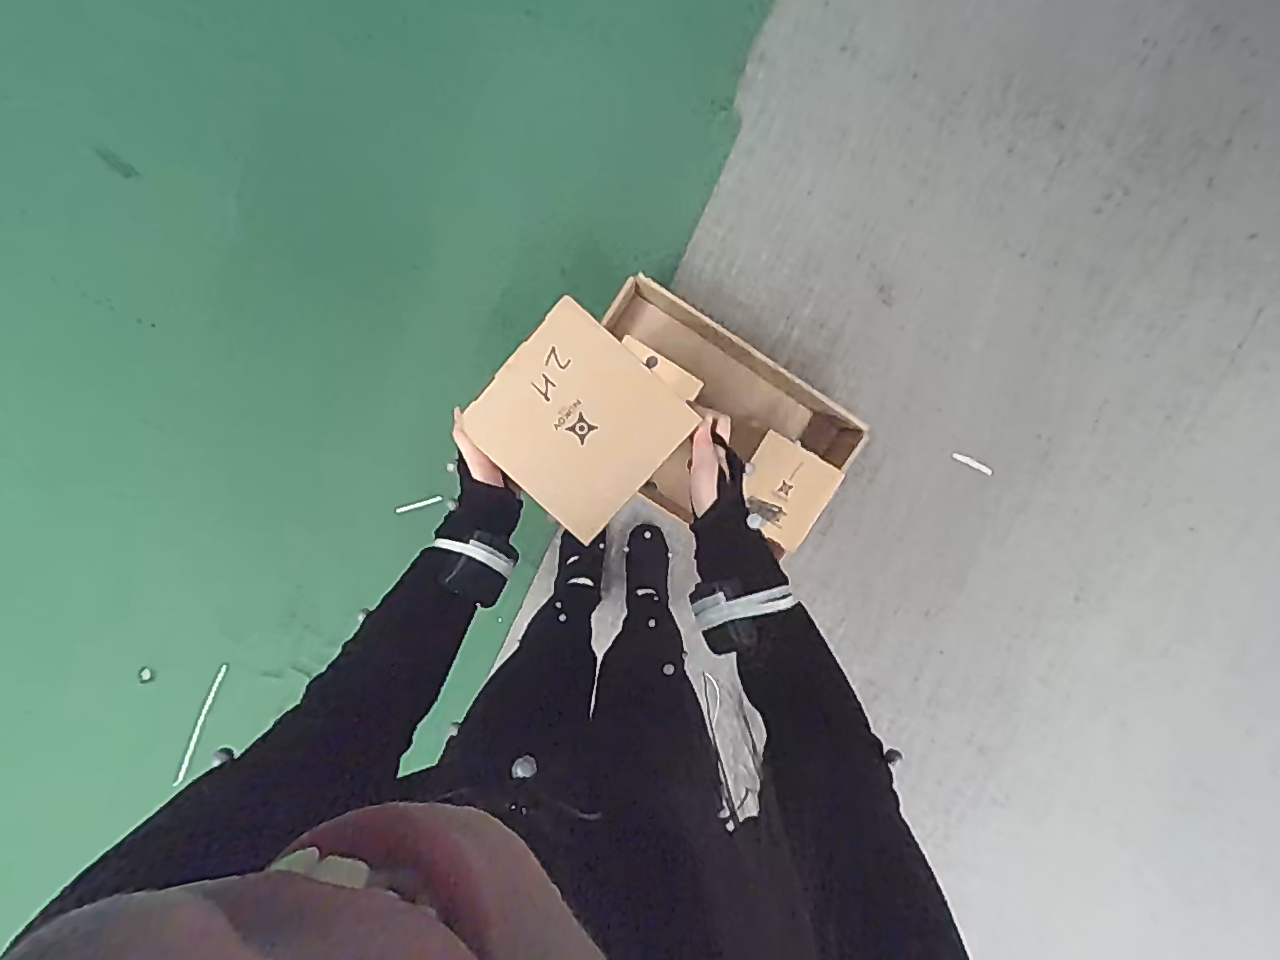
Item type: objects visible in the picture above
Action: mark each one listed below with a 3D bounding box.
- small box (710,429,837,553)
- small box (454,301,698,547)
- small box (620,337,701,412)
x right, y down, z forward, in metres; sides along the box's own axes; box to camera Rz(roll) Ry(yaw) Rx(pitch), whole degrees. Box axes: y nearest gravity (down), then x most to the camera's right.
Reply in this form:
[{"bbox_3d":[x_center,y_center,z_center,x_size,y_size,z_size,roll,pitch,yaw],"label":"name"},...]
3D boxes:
[{"bbox_3d":[0.252,0.014,1.074,0.168,0.176,0.179,31,96,-4],"label":"small box"},{"bbox_3d":[-0.056,-0.058,0.586,0.179,0.176,0.168,44,95,-1],"label":"small box"},{"bbox_3d":[-0.005,-0.154,1.053,0.168,0.176,0.179,32,97,-5],"label":"small box"}]
